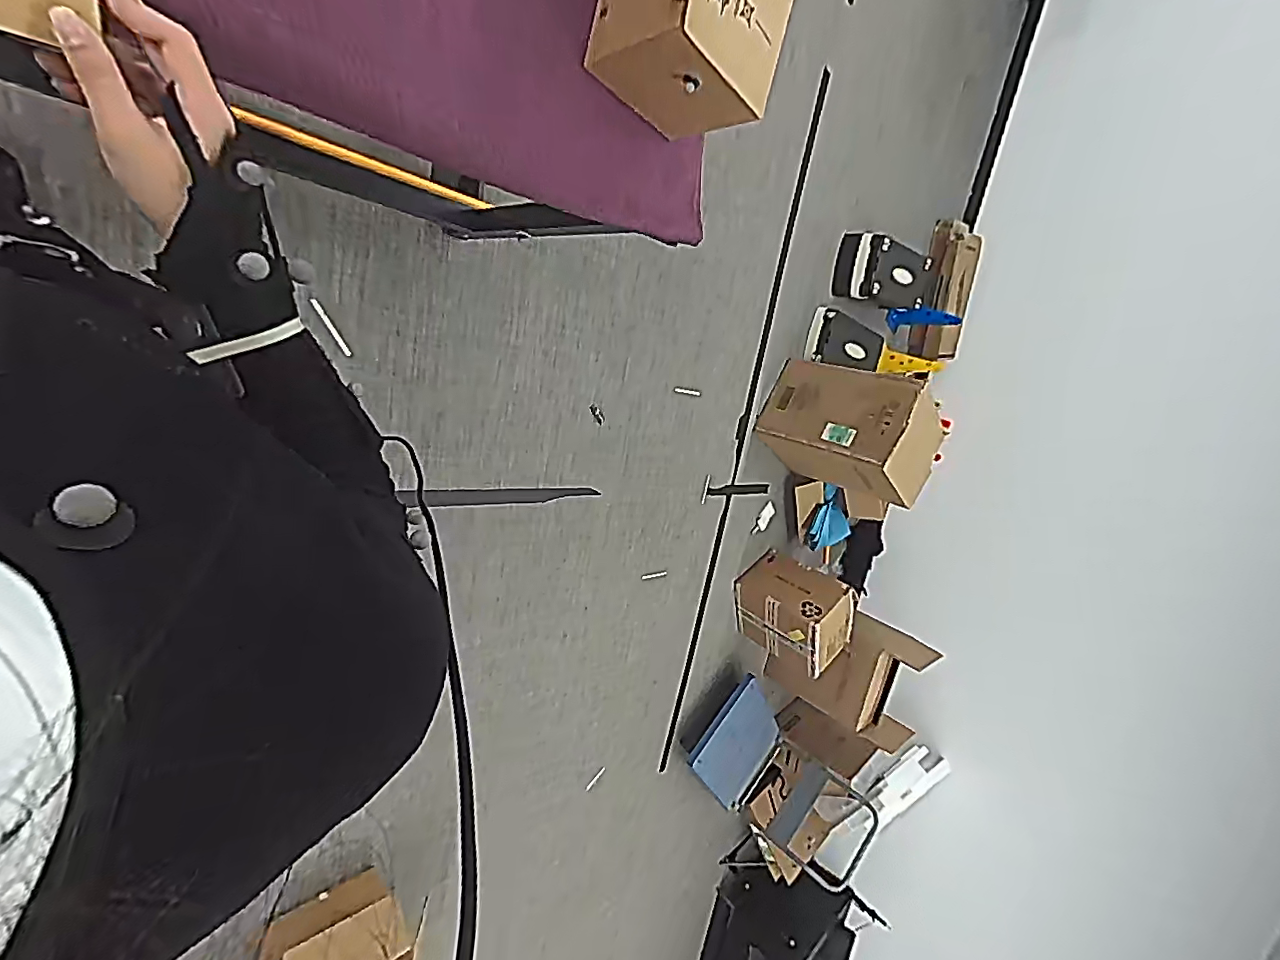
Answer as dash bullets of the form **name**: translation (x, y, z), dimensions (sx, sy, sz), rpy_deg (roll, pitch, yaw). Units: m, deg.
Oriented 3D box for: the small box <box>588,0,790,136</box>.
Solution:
- **small box**: translation (0.059, -0.570, 0.686), dimensions (0.179, 0.176, 0.168), rpy_deg (7, 101, -48)
